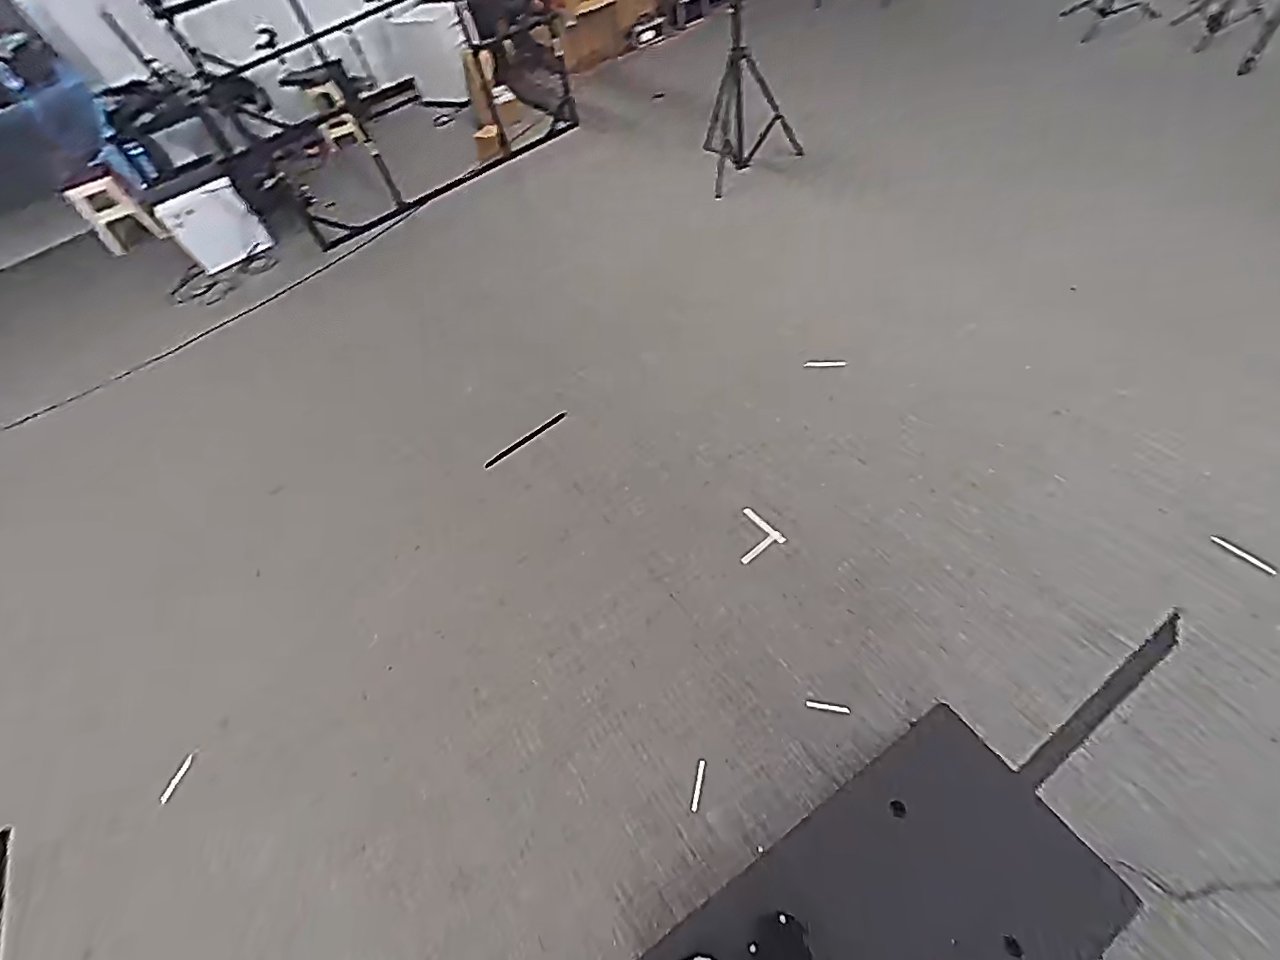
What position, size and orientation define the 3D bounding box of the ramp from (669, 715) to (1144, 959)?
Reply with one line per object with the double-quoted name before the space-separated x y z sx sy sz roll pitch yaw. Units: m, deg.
"ramp" 0.502 0.954 1.084 0.991 0.206 0.509 -35 52 -14
